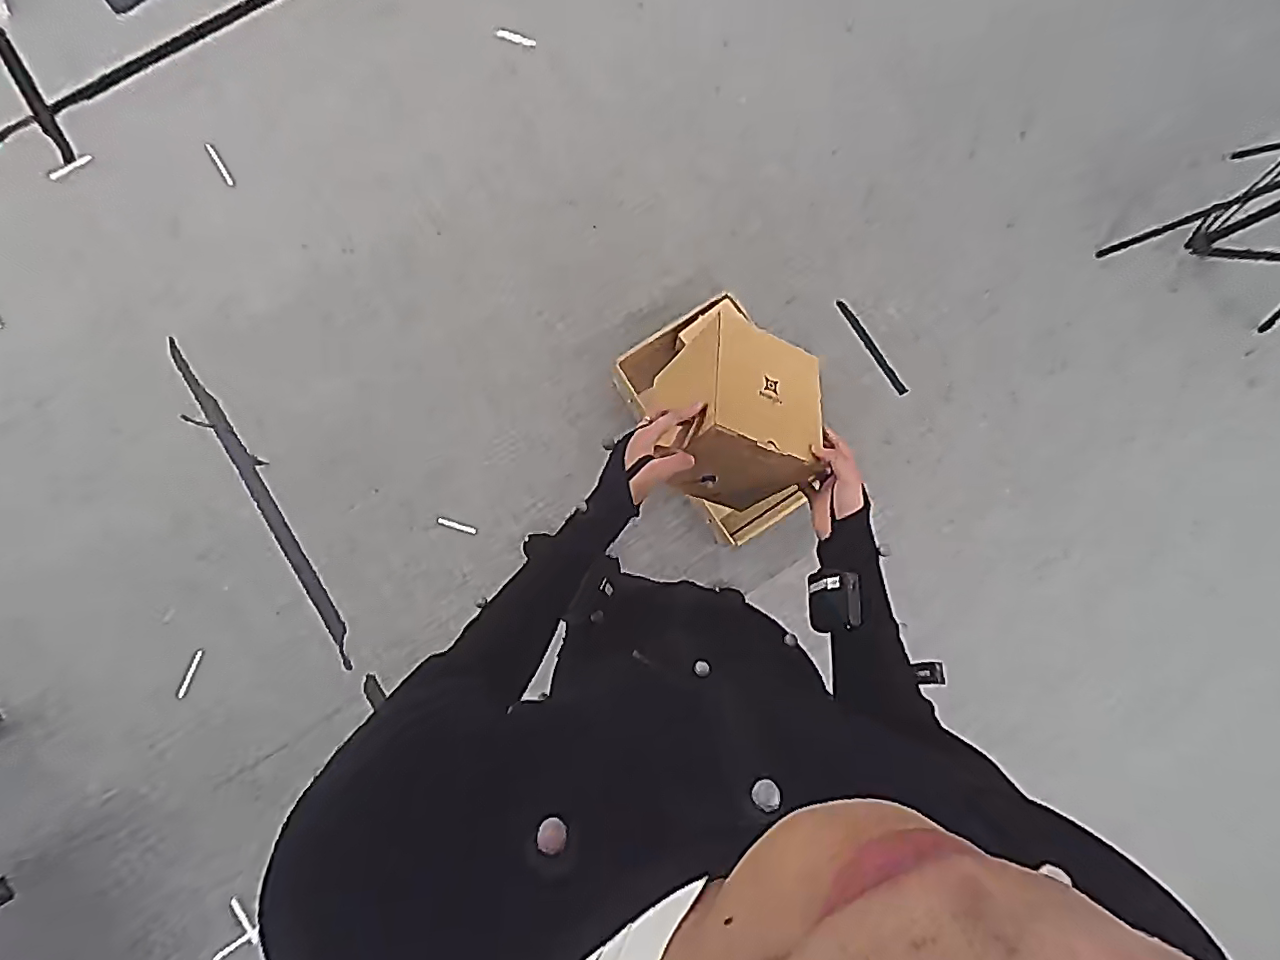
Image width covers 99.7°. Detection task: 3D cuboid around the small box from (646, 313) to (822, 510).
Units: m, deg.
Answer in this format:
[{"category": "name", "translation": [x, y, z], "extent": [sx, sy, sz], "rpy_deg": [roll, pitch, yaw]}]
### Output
[{"category": "small box", "translation": [0.119, -0.081, 0.730], "extent": [0.168, 0.176, 0.179], "rpy_deg": [18, 61, -23]}]
